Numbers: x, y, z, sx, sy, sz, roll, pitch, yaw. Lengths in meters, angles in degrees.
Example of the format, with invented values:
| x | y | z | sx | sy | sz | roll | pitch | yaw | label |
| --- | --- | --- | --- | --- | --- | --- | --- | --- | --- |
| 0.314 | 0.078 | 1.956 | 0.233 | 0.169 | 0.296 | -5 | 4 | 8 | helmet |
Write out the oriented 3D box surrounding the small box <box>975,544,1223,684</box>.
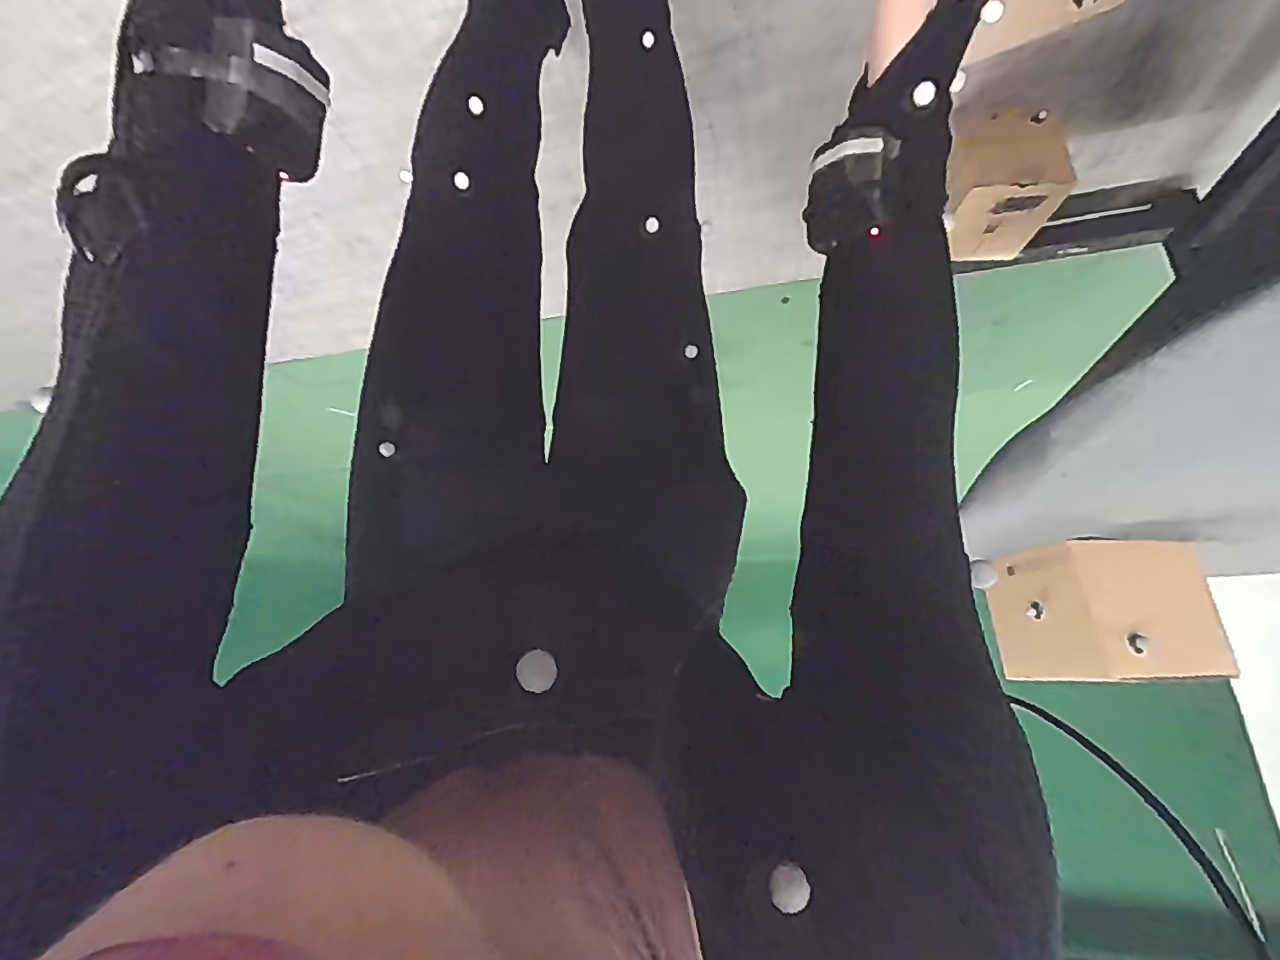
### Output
| x | y | z | sx | sy | sz | roll | pitch | yaw | label |
| --- | --- | --- | --- | --- | --- | --- | --- | --- | --- |
| 0.597 | 0.184 | 0.732 | 0.179 | 0.176 | 0.168 | 1 | 161 | -6 | small box |

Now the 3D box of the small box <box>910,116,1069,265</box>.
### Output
| x | y | z | sx | sy | sz | roll | pitch | yaw | label |
| --- | --- | --- | --- | --- | --- | --- | --- | --- | --- |
| 0.602 | -0.511 | 0.960 | 0.168 | 0.176 | 0.179 | 1 | 162 | 2 | small box |
